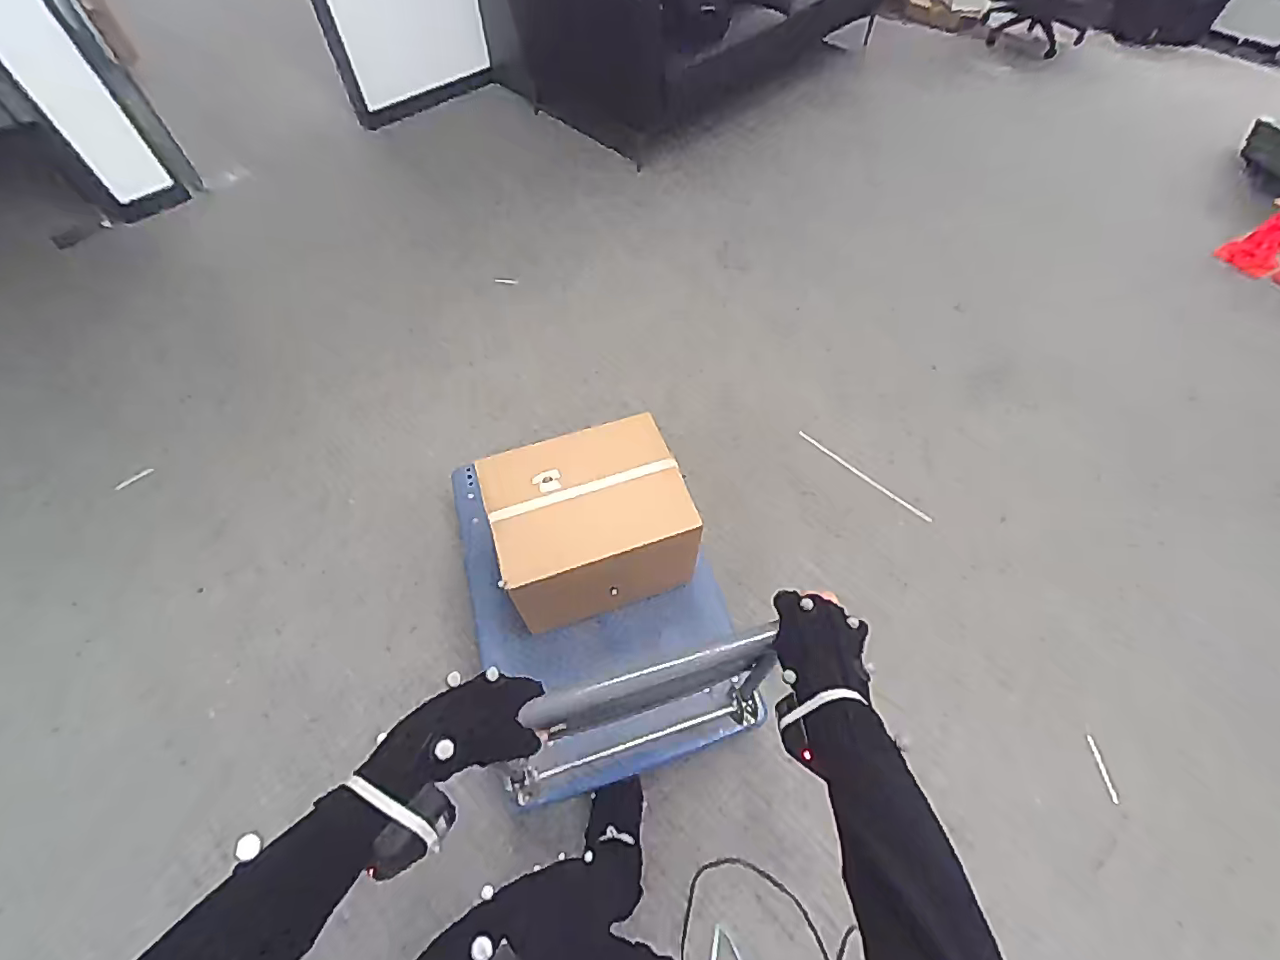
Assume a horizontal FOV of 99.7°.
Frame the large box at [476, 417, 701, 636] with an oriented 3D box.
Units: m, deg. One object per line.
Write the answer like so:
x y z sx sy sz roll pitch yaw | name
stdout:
-0.113 0.112 1.247 0.408 0.320 0.320 -18 59 -11 | large box
